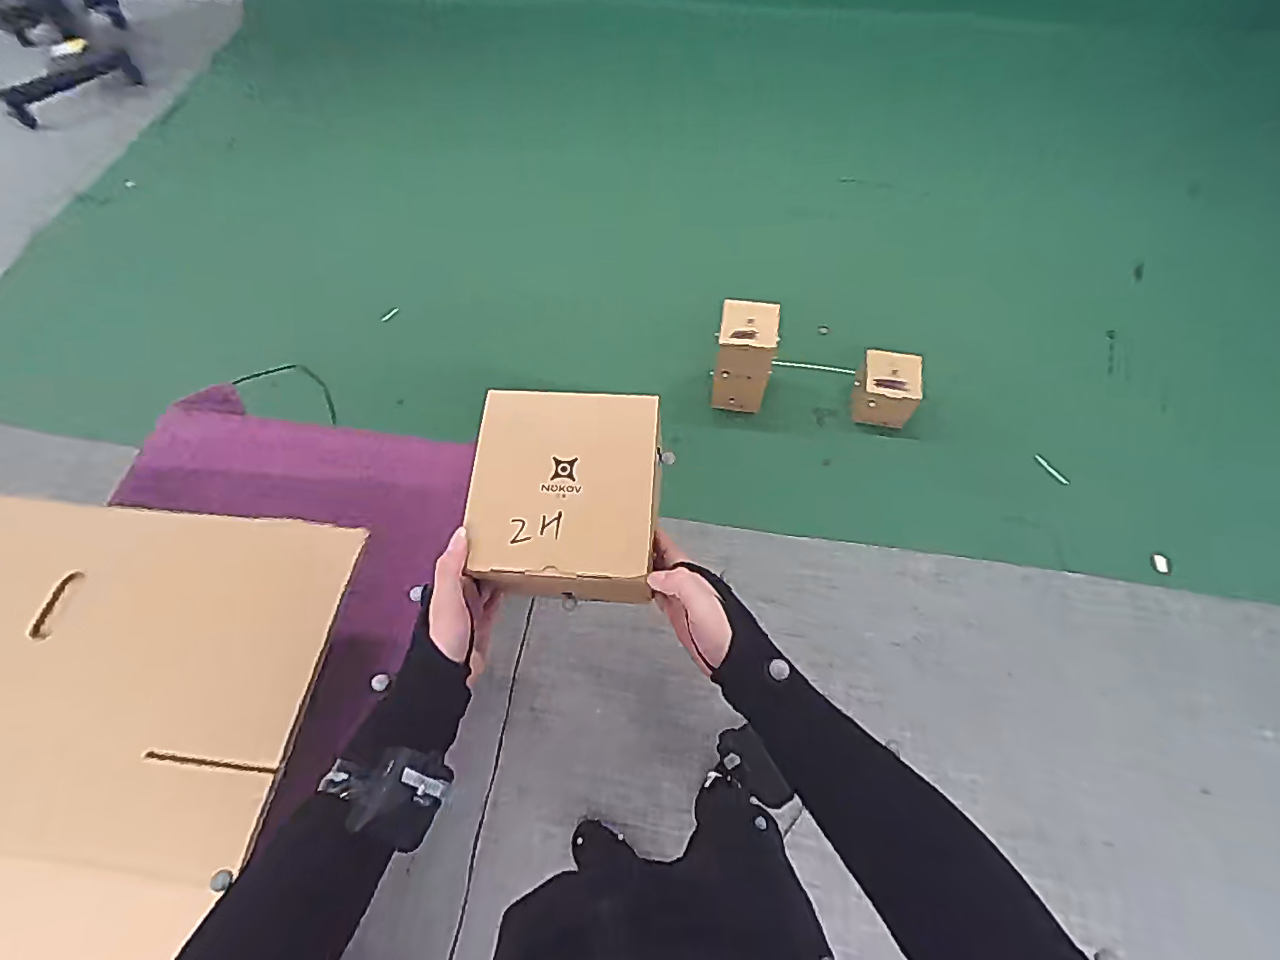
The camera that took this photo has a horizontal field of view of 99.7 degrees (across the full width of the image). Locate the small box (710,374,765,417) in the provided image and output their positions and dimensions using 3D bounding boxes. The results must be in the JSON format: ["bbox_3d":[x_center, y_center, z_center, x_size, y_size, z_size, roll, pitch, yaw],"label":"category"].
[{"bbox_3d":[0.329,-0.337,1.824,0.168,0.176,0.179,8,64,6],"label":"small box"}]

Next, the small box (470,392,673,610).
[{"bbox_3d":[-0.054,0.030,0.558,0.168,0.176,0.179,3,70,4],"label":"small box"}]

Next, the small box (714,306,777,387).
[{"bbox_3d":[0.323,-0.411,1.679,0.168,0.176,0.179,8,63,6],"label":"small box"}]
